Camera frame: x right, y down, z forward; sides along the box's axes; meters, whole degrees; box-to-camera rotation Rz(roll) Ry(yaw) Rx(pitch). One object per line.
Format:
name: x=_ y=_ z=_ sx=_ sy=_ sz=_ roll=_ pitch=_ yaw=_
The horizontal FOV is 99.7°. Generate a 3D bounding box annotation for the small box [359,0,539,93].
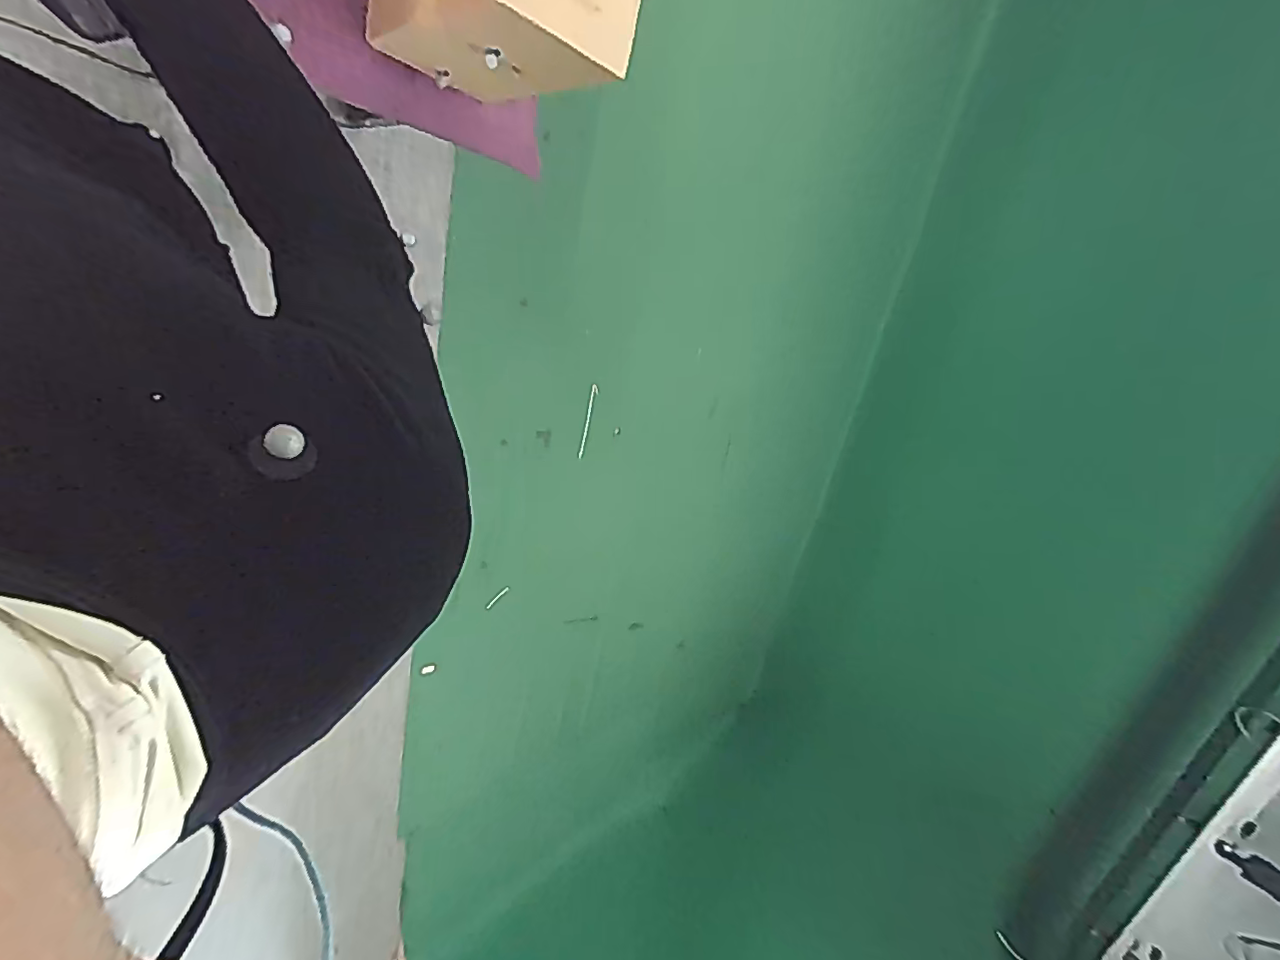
small box: x=-0.229 y=-0.622 z=0.688 sx=0.179 sy=0.176 sz=0.168 roll=-4 pitch=114 yaw=-46

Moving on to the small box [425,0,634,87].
small box: x=-0.116 y=-0.564 z=0.585 sx=0.168 sy=0.176 sz=0.179 roll=-3 pitch=114 yaw=-44
